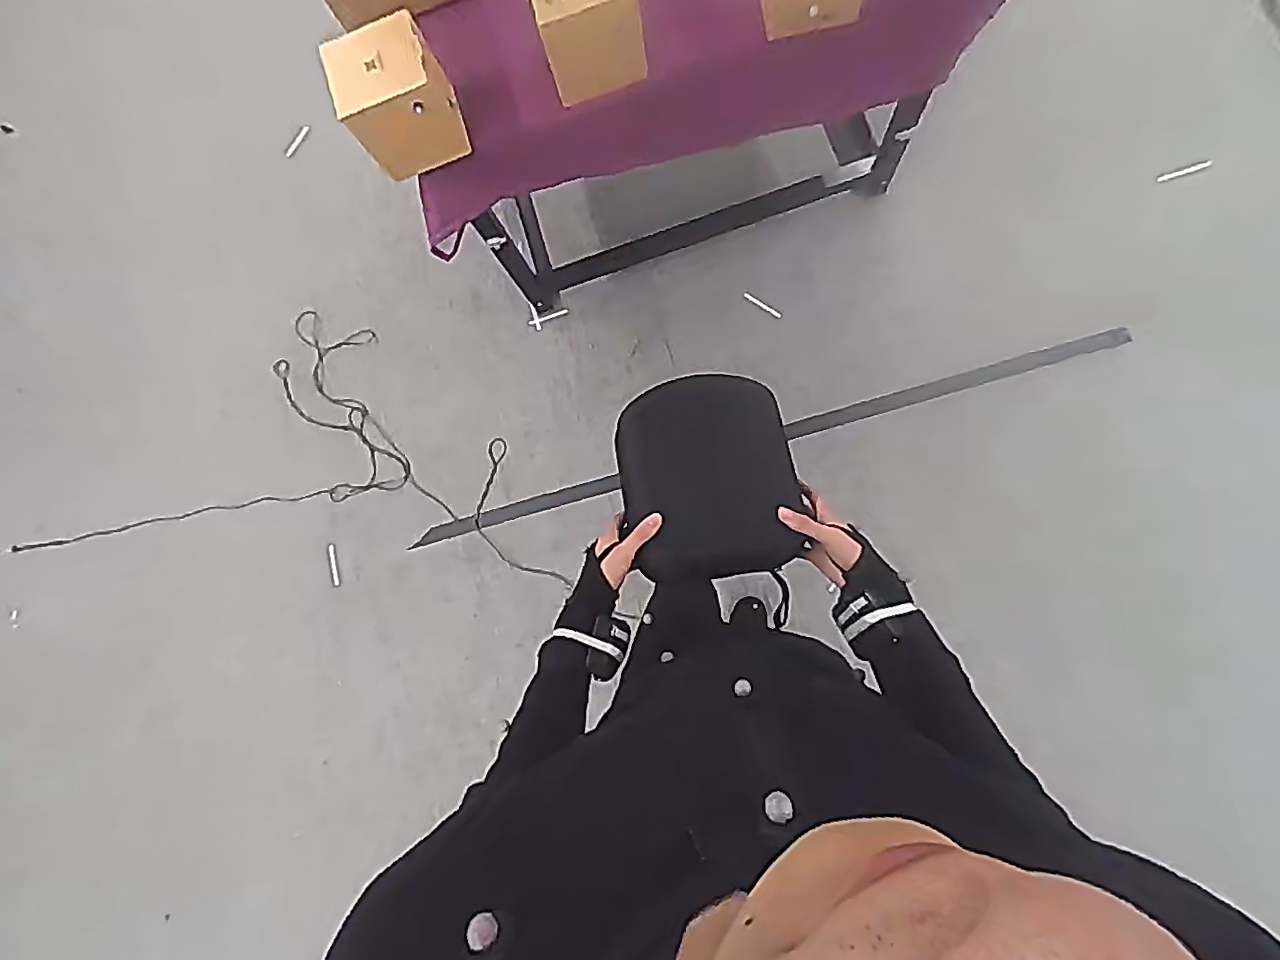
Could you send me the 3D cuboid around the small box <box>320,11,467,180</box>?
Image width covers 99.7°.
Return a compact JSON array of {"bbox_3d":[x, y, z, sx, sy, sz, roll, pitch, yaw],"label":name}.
[{"bbox_3d":[-0.457,-0.711,1.021,0.179,0.176,0.168,-19,80,4],"label":"small box"}]
